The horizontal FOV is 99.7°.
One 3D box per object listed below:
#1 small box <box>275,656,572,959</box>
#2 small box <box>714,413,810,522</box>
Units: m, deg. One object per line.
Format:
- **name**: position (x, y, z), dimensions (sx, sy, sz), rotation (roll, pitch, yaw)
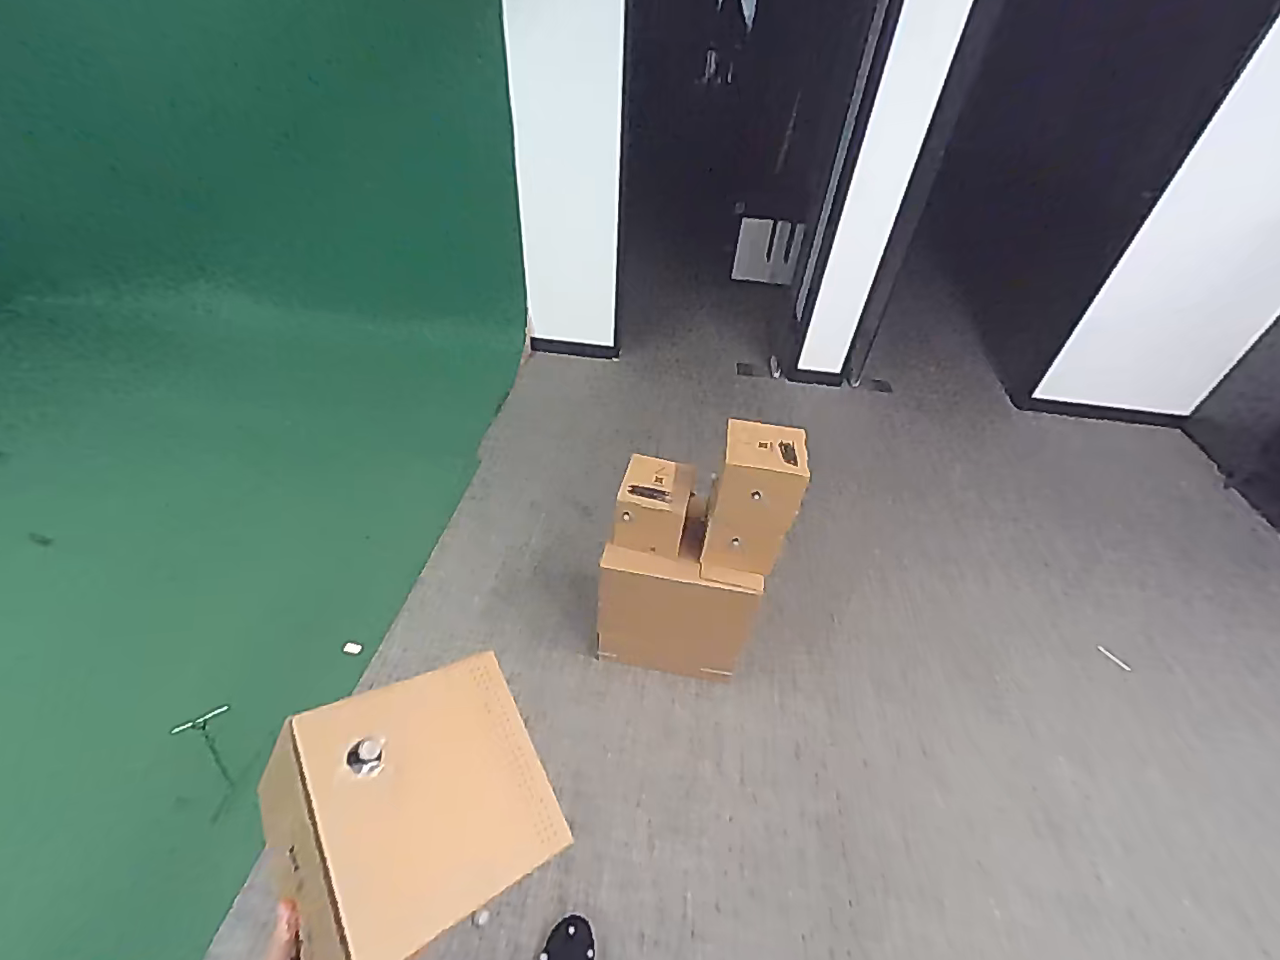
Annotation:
- **small box**: position (-0.190, 0.273, 0.469), dimensions (0.176, 0.168, 0.179), rotation (-7, 56, -45)
- **small box**: position (0.271, -0.025, 1.222), dimensions (0.179, 0.176, 0.168), rotation (9, 44, 5)
